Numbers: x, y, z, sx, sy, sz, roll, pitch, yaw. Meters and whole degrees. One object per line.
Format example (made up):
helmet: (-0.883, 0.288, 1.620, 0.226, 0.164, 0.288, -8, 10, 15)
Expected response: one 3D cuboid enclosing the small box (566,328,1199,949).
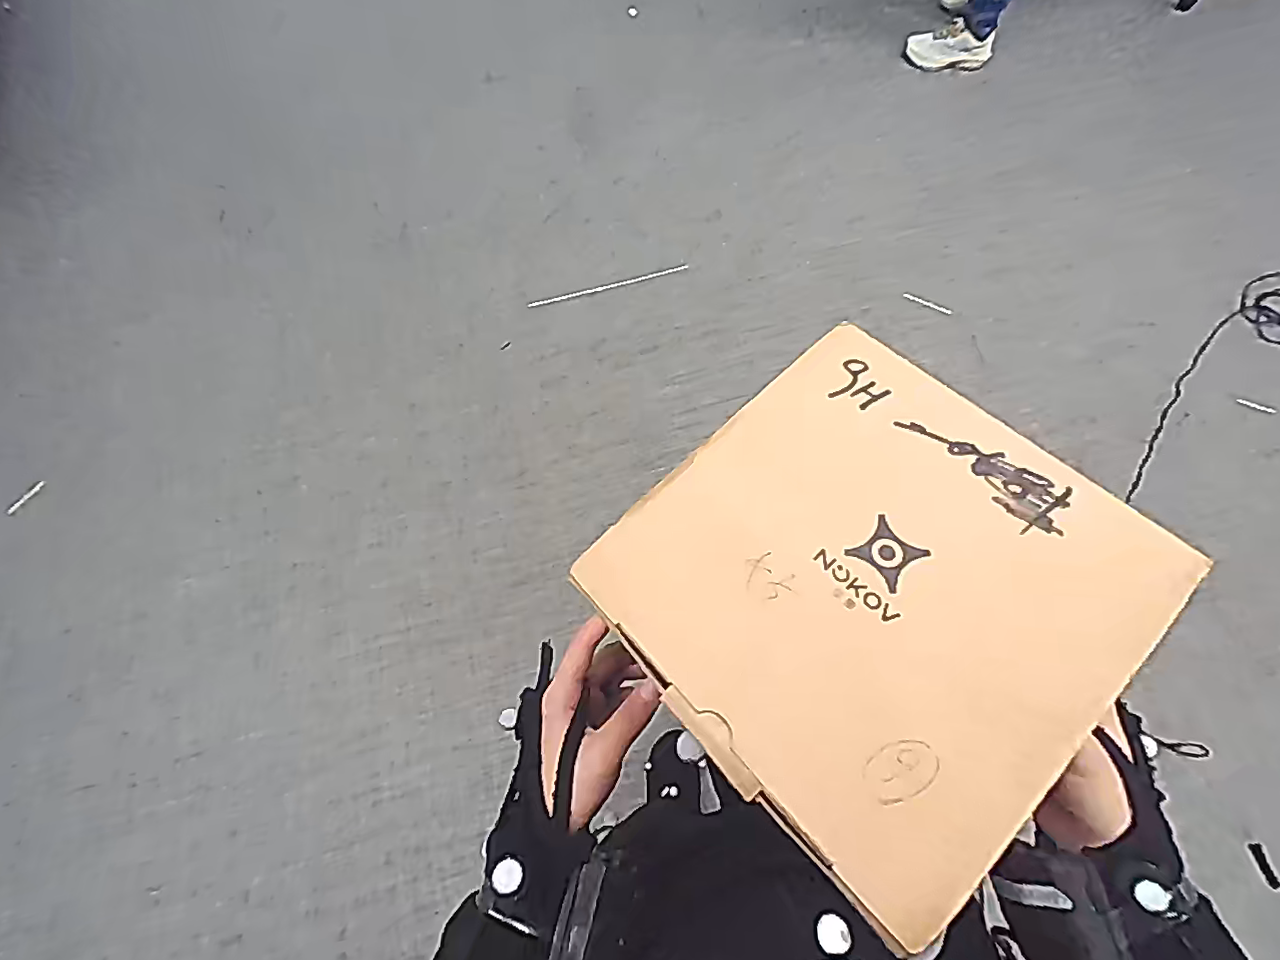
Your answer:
small box: (0.095, 0.068, 0.279, 0.179, 0.176, 0.168, -42, 68, -11)
